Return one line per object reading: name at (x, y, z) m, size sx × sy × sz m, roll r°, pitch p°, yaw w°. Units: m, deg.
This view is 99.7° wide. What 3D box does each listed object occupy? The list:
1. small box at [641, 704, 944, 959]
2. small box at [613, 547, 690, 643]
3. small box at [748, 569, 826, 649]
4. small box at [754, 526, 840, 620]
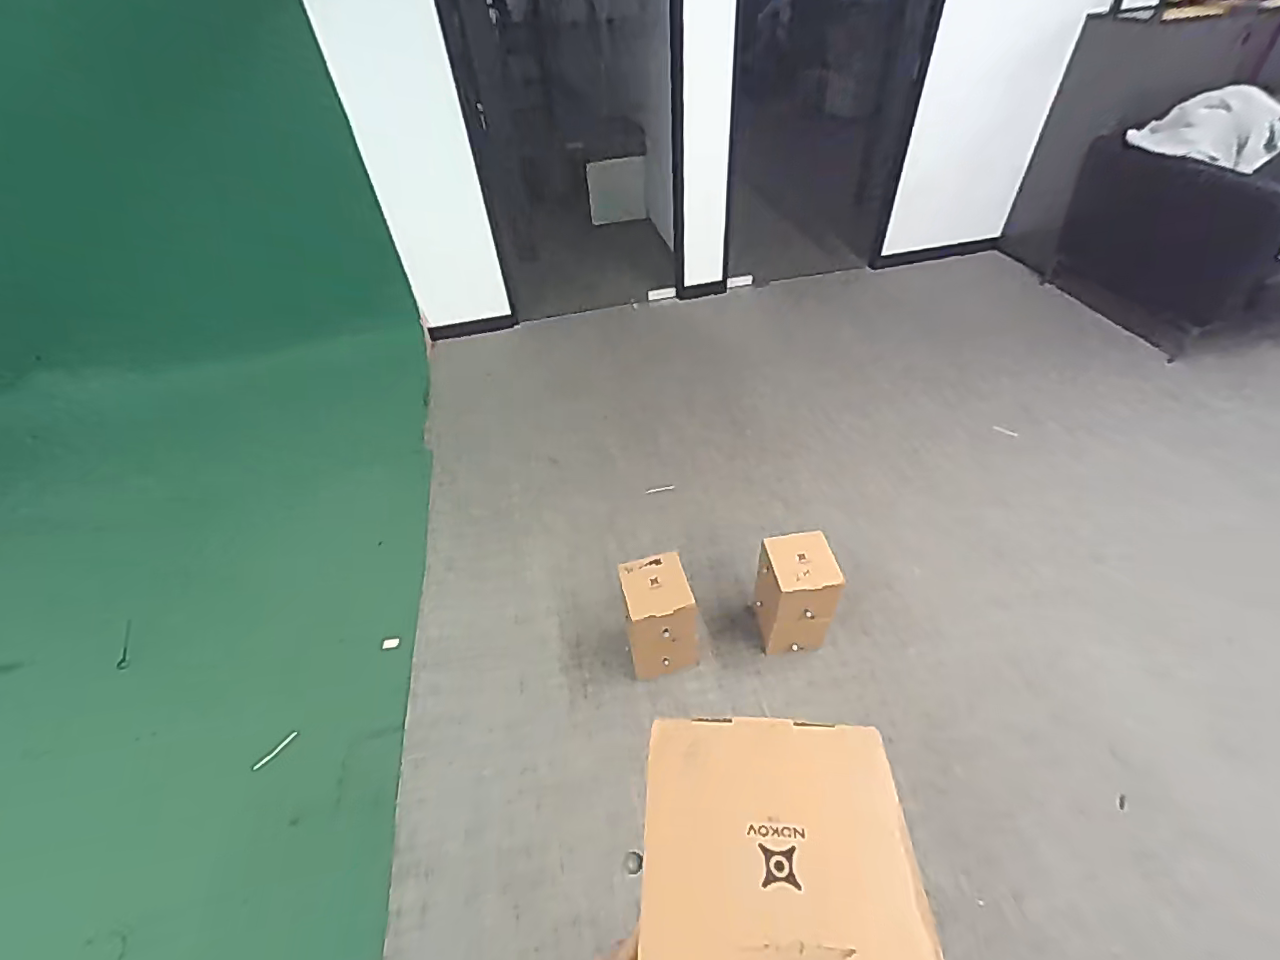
small box at (0.087, 0.287, 0.383) m, size 0.168 × 0.176 × 0.179 m, roll 1°, pitch 40°, yaw 4°
small box at (0.032, 0.311, 1.427) m, size 0.168 × 0.176 × 0.179 m, roll -12°, pitch 47°, yaw -8°
small box at (0.418, 0.369, 1.575) m, size 0.168 × 0.176 × 0.179 m, roll -6°, pitch 47°, yaw -2°
small box at (0.413, 0.251, 1.459) m, size 0.168 × 0.176 × 0.179 m, roll -8°, pitch 46°, yaw -3°
